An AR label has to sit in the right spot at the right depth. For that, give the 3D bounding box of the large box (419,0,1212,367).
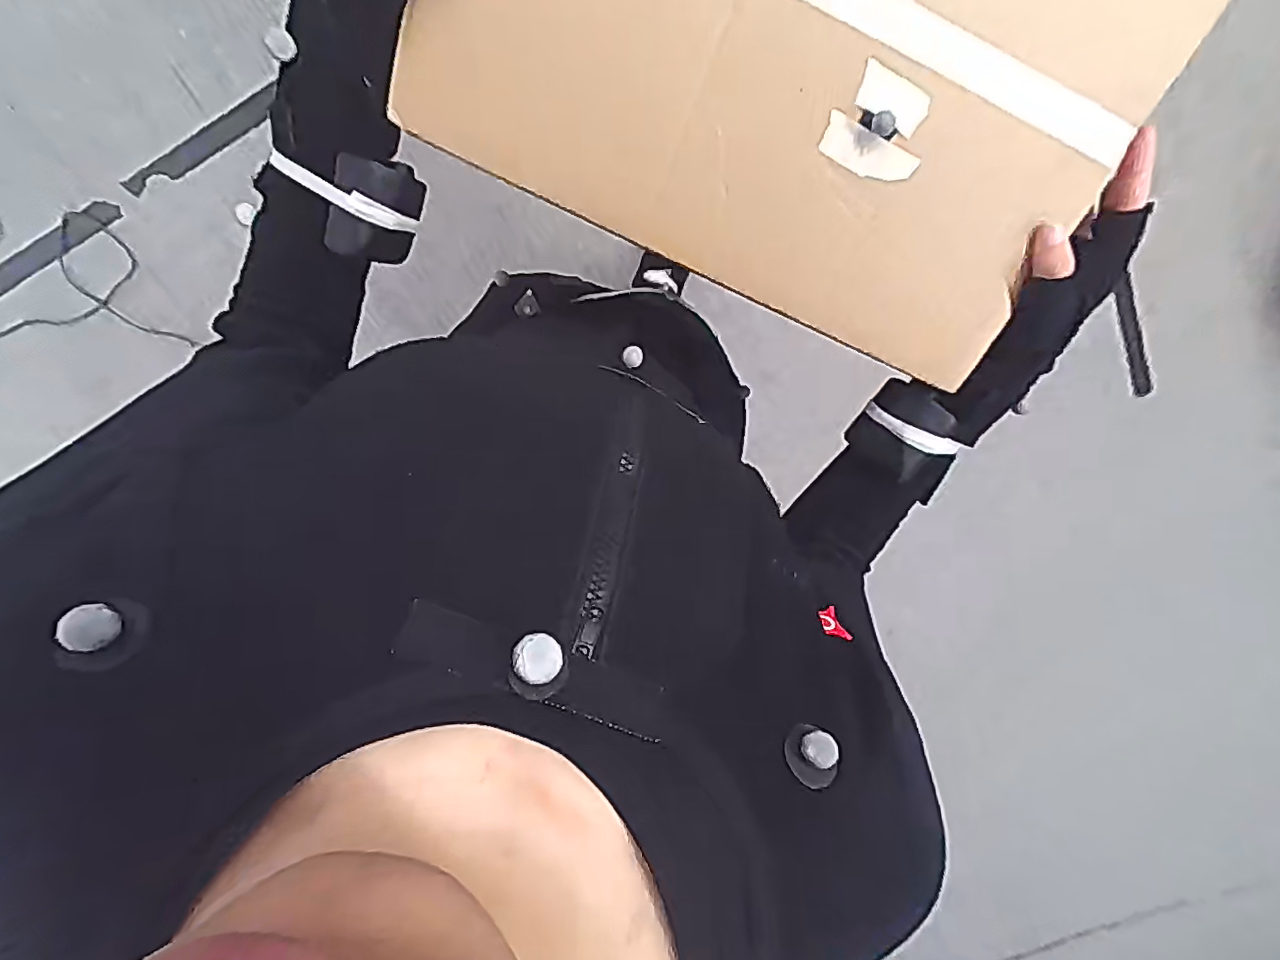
[{"bbox_3d":[0.106,-0.338,0.436,0.408,0.320,0.320,23,114,-8],"label":"large box"}]
